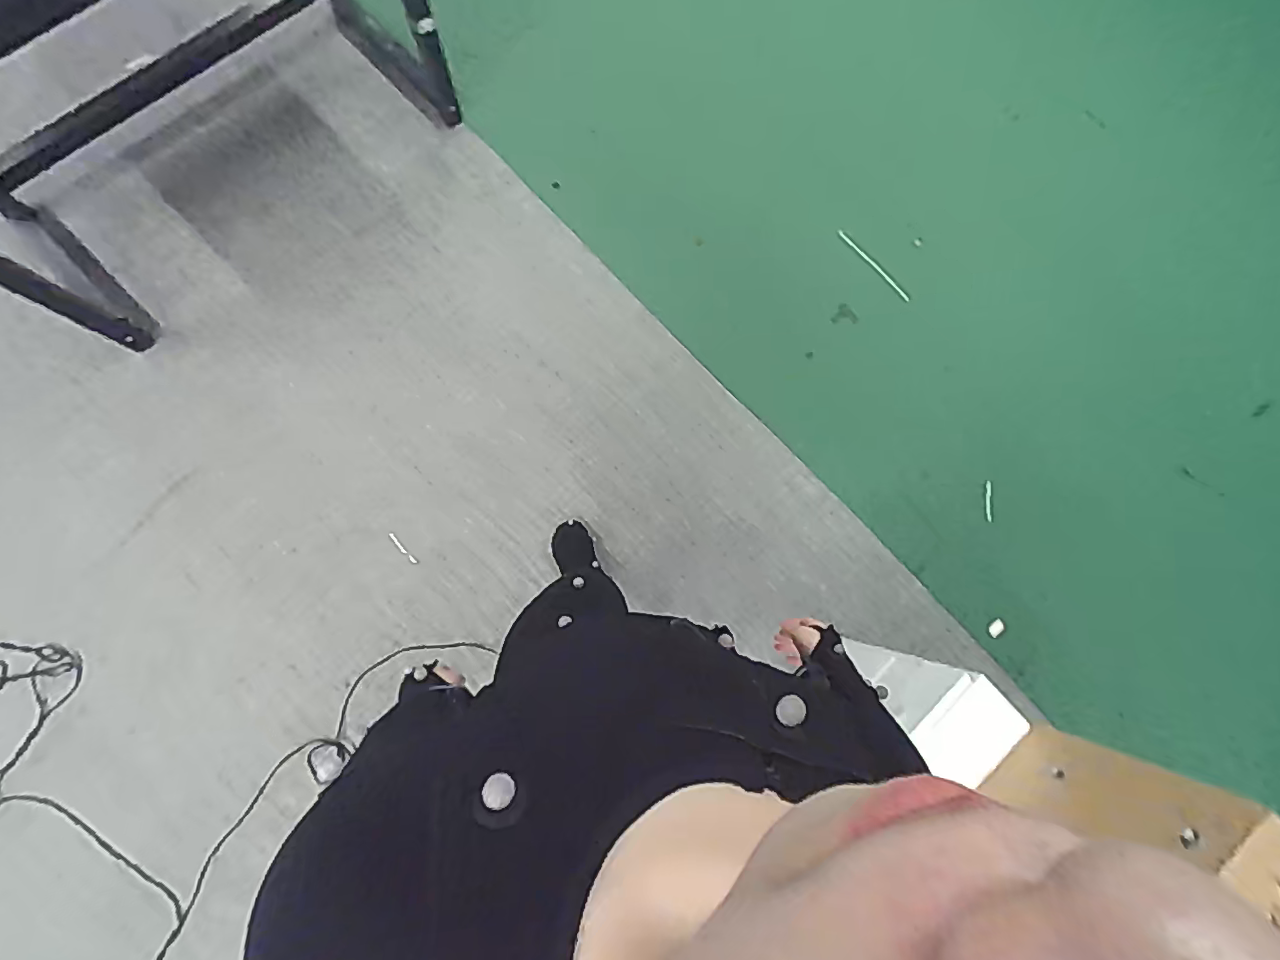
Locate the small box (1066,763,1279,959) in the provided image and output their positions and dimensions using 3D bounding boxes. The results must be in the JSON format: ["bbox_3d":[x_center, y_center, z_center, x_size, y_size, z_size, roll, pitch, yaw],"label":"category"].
[{"bbox_3d":[0.696,0.496,0.671,0.179,0.176,0.168,-41,86,-8],"label":"small box"}]

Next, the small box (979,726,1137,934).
[{"bbox_3d":[0.680,0.518,0.835,0.179,0.176,0.168,-40,86,-8],"label":"small box"}]
